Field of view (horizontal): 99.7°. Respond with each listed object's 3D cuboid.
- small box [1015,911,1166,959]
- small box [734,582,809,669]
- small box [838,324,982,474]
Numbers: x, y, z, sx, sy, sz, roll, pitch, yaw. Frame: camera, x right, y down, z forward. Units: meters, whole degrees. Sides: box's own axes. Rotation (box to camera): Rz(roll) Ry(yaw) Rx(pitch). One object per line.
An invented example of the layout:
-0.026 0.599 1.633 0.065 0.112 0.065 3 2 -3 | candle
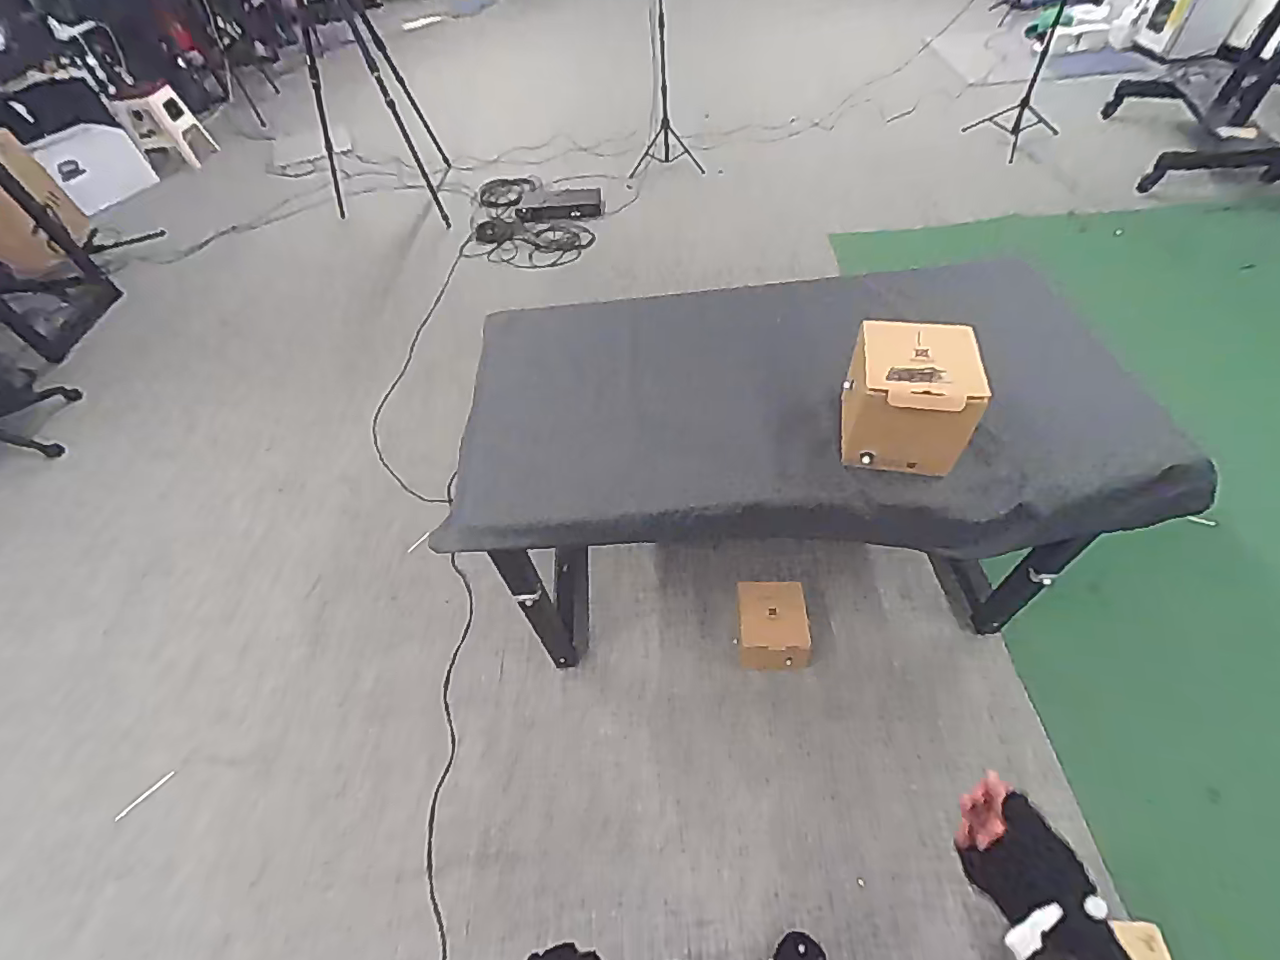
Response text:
0.812 0.885 0.970 0.179 0.176 0.168 -1 52 6 | small box
0.337 0.384 1.417 0.168 0.176 0.179 -1 50 5 | small box
0.425 -0.129 0.879 0.168 0.176 0.179 7 52 12 | small box
